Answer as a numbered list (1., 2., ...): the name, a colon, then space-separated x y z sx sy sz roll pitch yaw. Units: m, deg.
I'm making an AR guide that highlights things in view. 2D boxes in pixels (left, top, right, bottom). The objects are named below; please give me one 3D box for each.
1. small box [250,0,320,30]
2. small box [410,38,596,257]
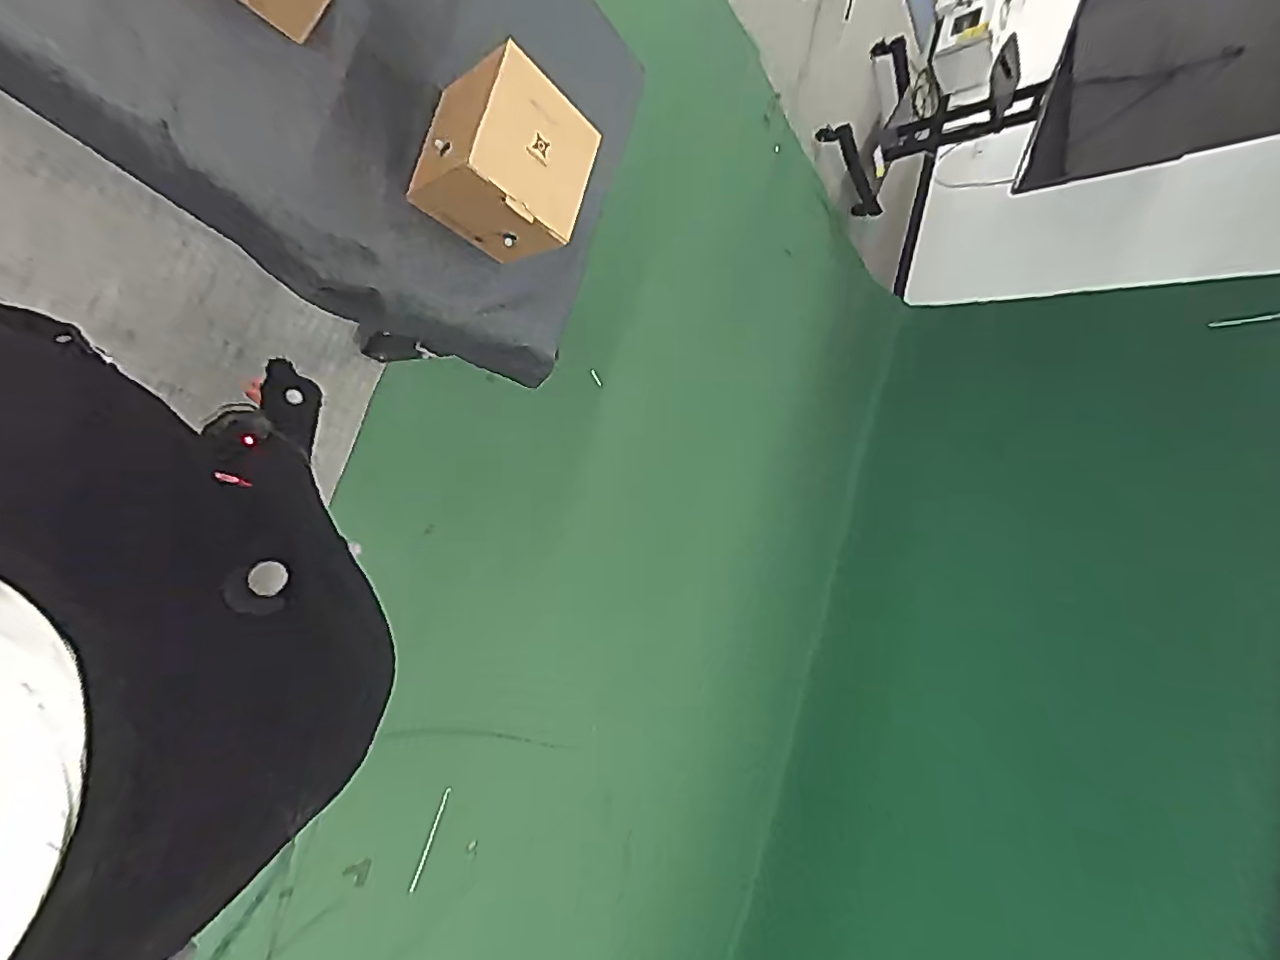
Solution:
1. small box: -0.375 -0.605 0.526 0.168 0.176 0.179 19 81 -47
2. small box: -0.193 -0.439 0.752 0.168 0.176 0.179 22 79 -48
